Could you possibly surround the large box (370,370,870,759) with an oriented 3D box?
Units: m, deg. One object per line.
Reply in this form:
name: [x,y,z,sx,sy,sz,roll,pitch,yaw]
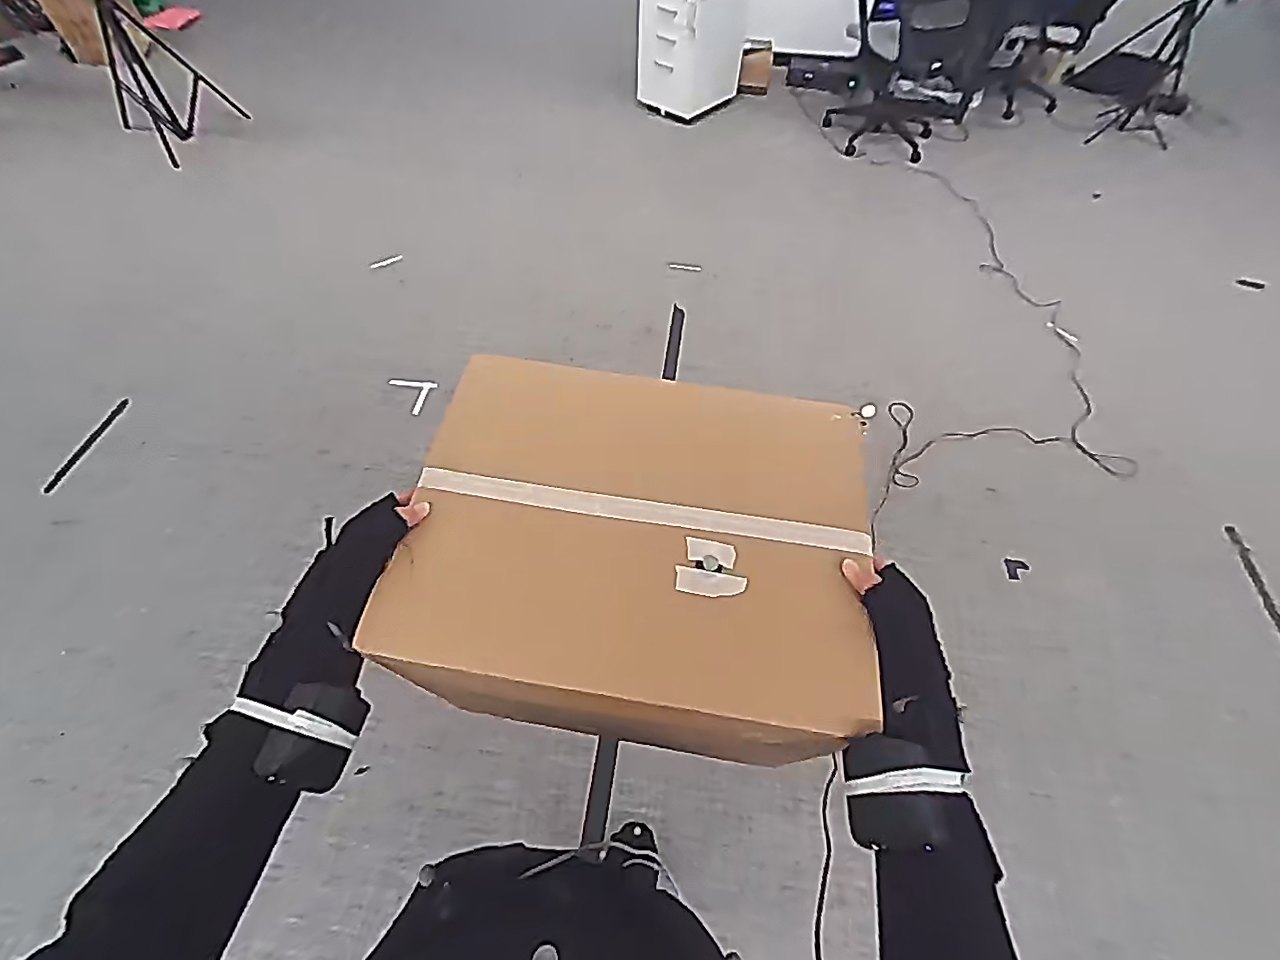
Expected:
large box: [-0.006,0.112,0.621,0.408,0.320,0.320,9,60,3]
